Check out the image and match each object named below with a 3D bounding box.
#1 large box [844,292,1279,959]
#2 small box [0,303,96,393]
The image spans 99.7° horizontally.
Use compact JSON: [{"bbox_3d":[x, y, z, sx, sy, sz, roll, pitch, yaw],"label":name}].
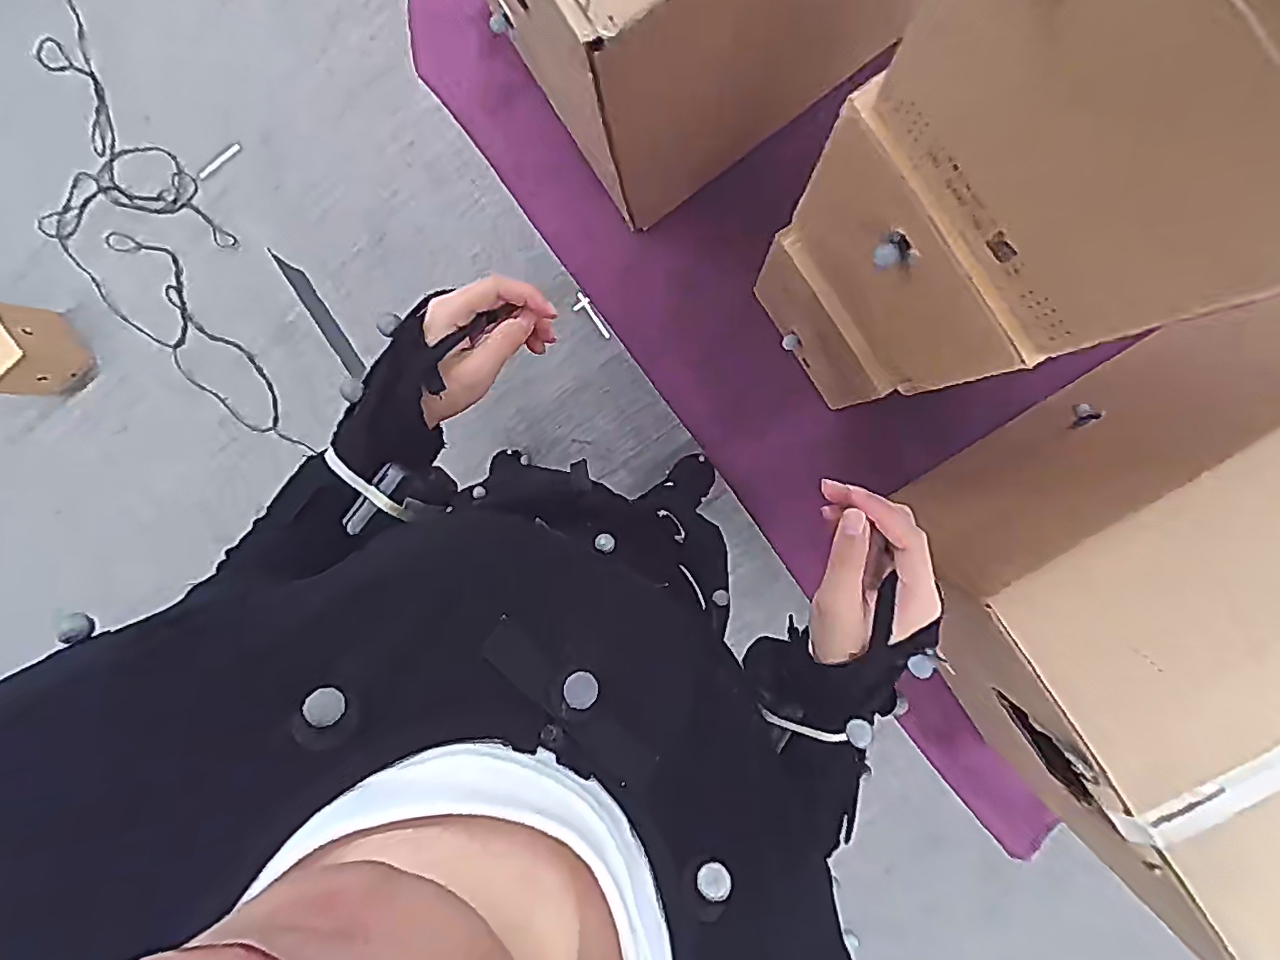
[{"bbox_3d":[0.459,0.077,0.447,0.408,0.320,0.320,-34,90,5],"label":"large box"},{"bbox_3d":[-1.630,-0.345,1.442,0.168,0.176,0.179,-35,89,7],"label":"small box"}]
